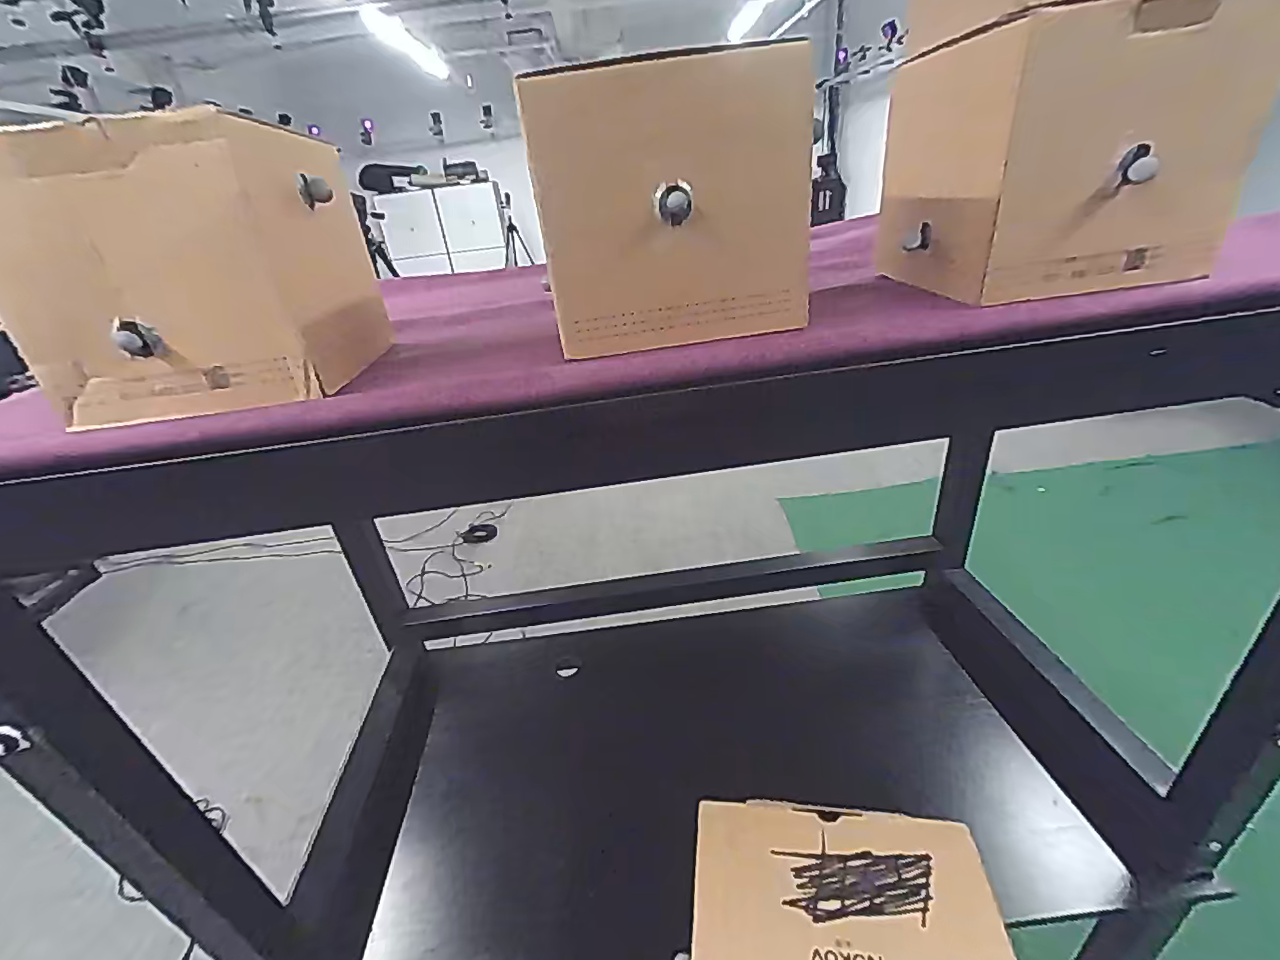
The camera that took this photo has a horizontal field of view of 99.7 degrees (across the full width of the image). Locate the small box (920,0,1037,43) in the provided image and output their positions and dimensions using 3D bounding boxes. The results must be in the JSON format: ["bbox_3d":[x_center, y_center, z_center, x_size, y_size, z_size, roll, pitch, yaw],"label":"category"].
[{"bbox_3d":[0.297,-0.391,0.334,0.168,0.176,0.179,-7,30,4],"label":"small box"}]

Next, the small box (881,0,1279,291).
[{"bbox_3d":[0.306,-0.249,0.413,0.168,0.176,0.179,-7,29,0],"label":"small box"}]

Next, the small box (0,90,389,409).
[{"bbox_3d":[-0.304,-0.162,0.394,0.168,0.176,0.179,-8,28,-4],"label":"small box"}]
